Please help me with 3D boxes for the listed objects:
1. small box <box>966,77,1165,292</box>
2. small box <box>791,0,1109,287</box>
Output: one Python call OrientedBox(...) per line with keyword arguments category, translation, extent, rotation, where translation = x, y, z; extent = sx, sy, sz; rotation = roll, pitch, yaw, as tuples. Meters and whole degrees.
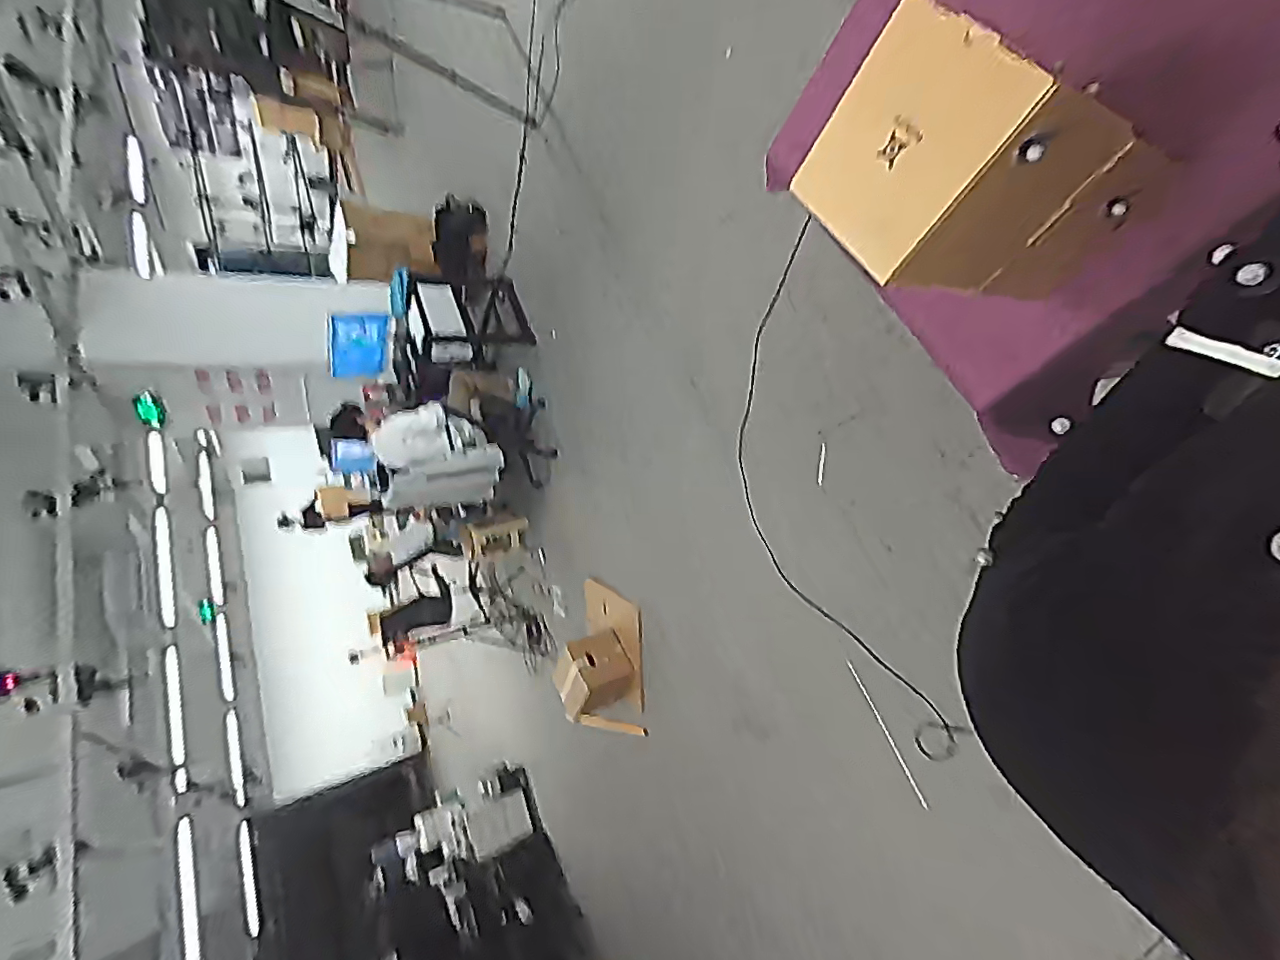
OrientedBox(category="small box", translation=(0.427, -0.334, 0.612), extent=(0.168, 0.176, 0.179), rotation=(-54, 54, 46))
OrientedBox(category="small box", translation=(0.291, -0.309, 0.525), extent=(0.168, 0.176, 0.179), rotation=(62, 141, 25))
